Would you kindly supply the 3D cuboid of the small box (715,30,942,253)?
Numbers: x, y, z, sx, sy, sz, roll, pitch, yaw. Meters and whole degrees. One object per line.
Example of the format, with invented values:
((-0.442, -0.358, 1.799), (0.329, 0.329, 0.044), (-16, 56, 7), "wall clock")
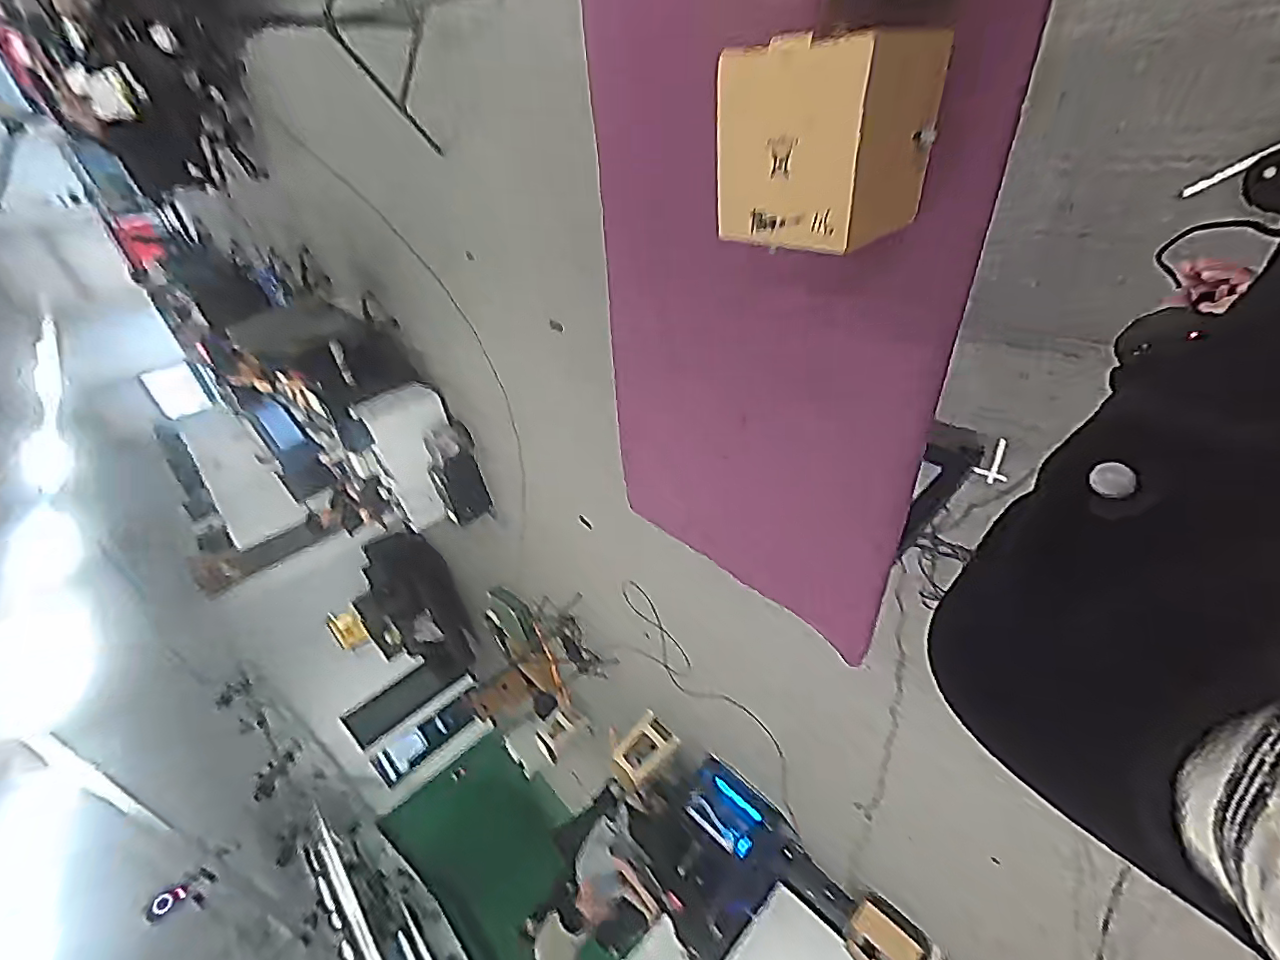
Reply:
((0.199, -0.364, 0.585), (0.168, 0.176, 0.179), (28, 137, 37), "small box")
